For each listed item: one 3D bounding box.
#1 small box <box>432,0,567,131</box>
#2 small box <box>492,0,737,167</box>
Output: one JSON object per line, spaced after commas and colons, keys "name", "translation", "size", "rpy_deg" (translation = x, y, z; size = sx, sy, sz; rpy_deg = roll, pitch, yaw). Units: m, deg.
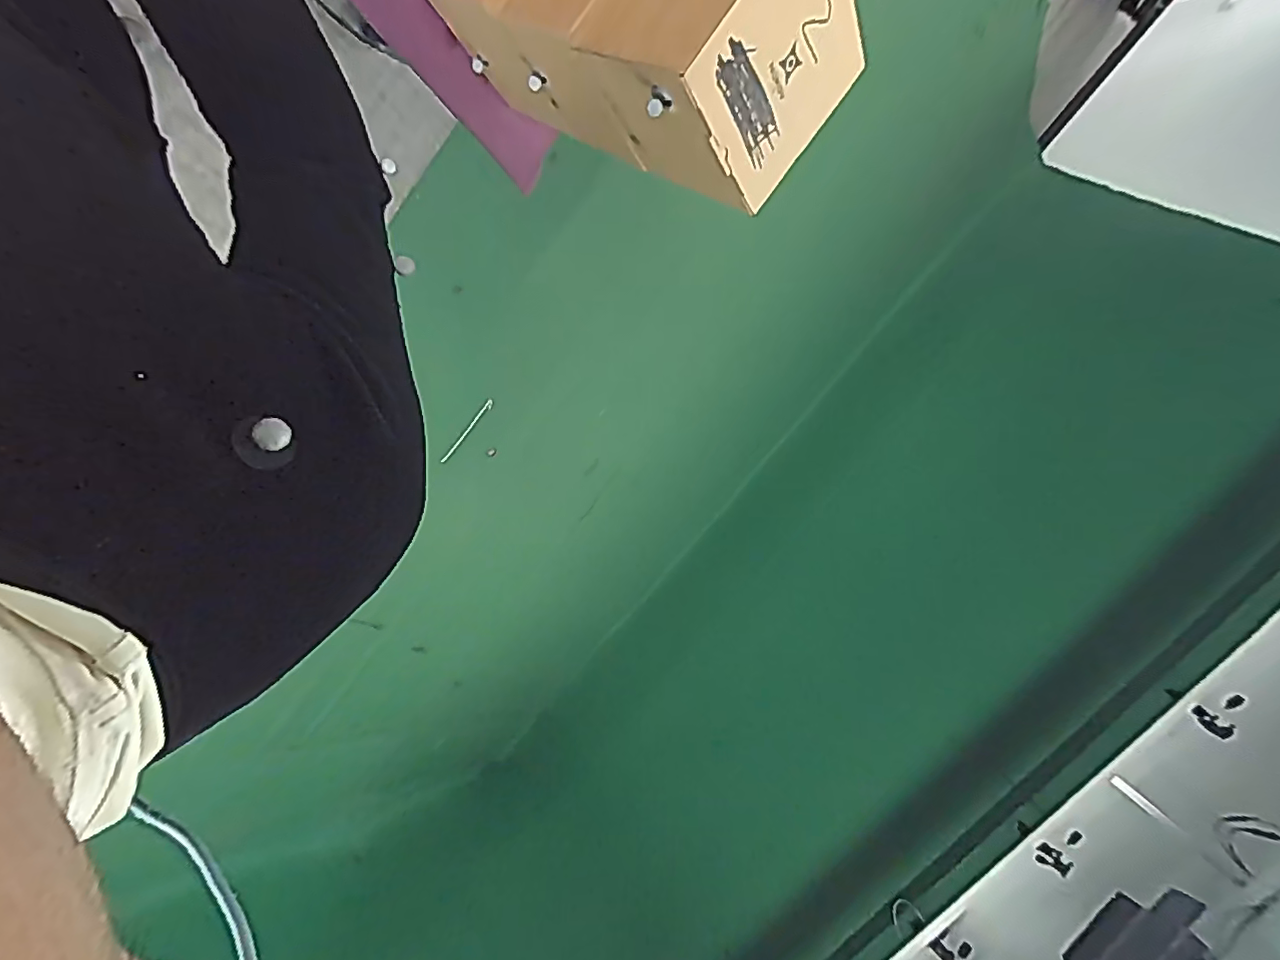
{"name": "small box", "translation": [-0.133, -0.597, 0.682], "size": [0.168, 0.176, 0.179], "rpy_deg": [-50, 150, 5]}
{"name": "small box", "translation": [-0.029, -0.501, 0.600], "size": [0.179, 0.176, 0.168], "rpy_deg": [-49, 148, 5]}
